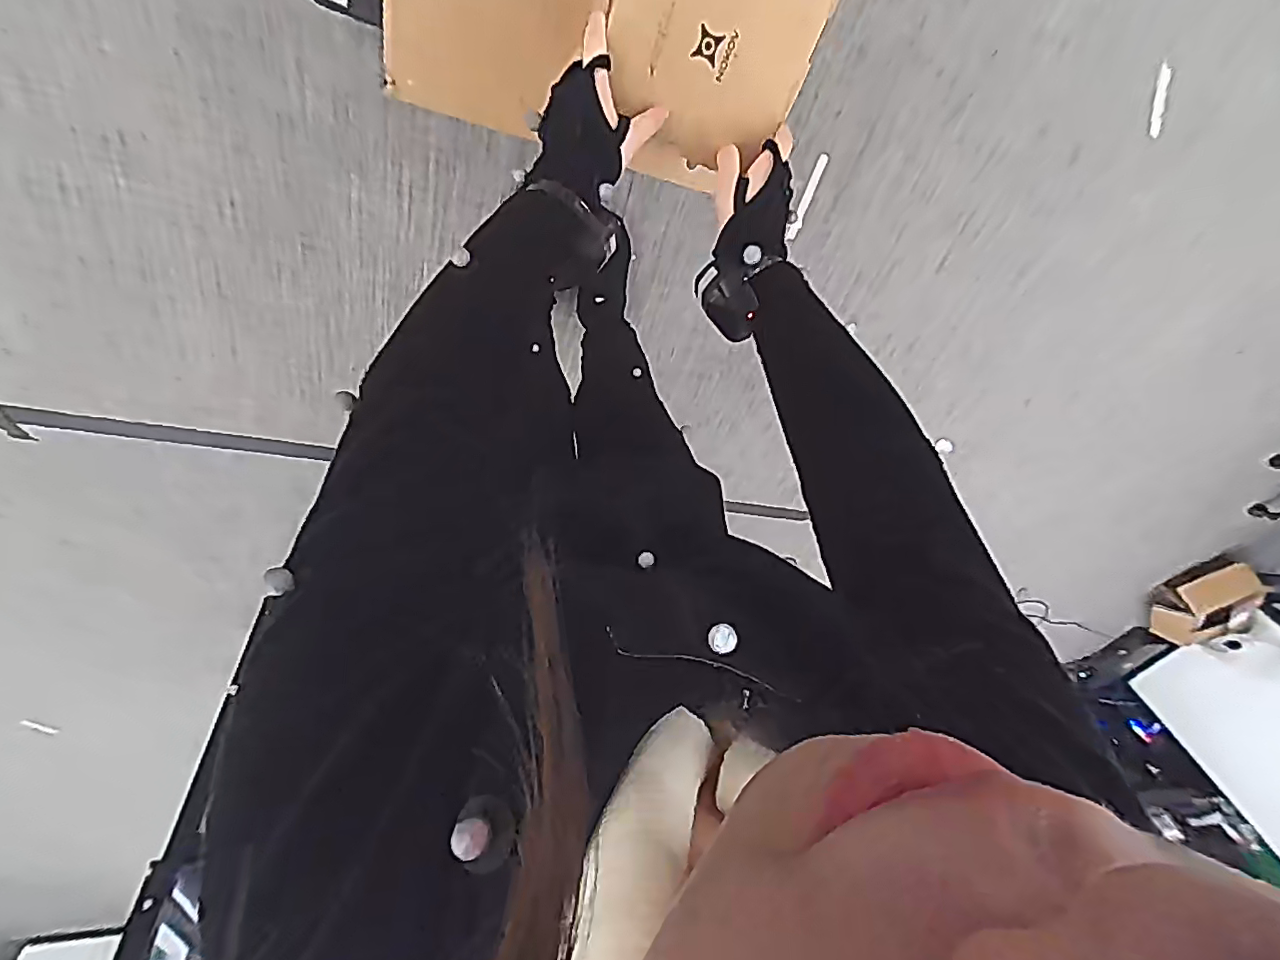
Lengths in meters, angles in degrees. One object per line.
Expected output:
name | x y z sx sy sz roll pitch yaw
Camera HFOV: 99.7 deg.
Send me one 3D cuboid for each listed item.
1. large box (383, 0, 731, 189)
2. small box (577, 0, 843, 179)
large box | -0.059 -0.597 0.642 0.408 0.320 0.320 7 129 -17
small box | 0.050 -0.414 0.498 0.179 0.176 0.168 11 129 -21
